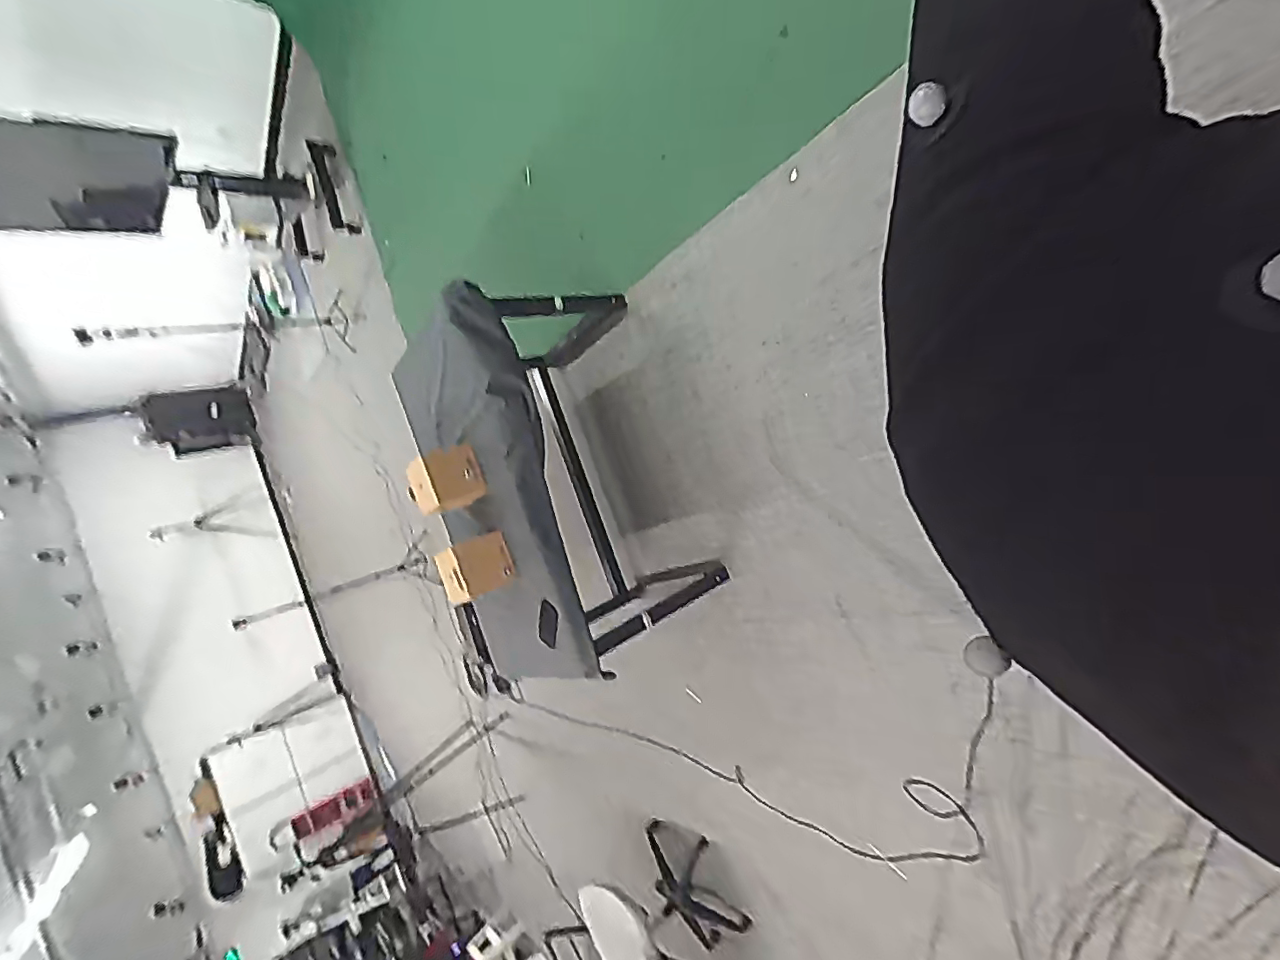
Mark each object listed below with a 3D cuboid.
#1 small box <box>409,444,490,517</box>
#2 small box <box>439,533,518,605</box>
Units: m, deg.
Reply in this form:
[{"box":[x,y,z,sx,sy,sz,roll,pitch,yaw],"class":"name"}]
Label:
[{"box":[-0.605,0.002,1.722,0.179,0.176,0.168,-27,85,48],"class":"small box"},{"box":[-0.506,0.280,1.714,0.179,0.176,0.168,-26,84,50],"class":"small box"}]
